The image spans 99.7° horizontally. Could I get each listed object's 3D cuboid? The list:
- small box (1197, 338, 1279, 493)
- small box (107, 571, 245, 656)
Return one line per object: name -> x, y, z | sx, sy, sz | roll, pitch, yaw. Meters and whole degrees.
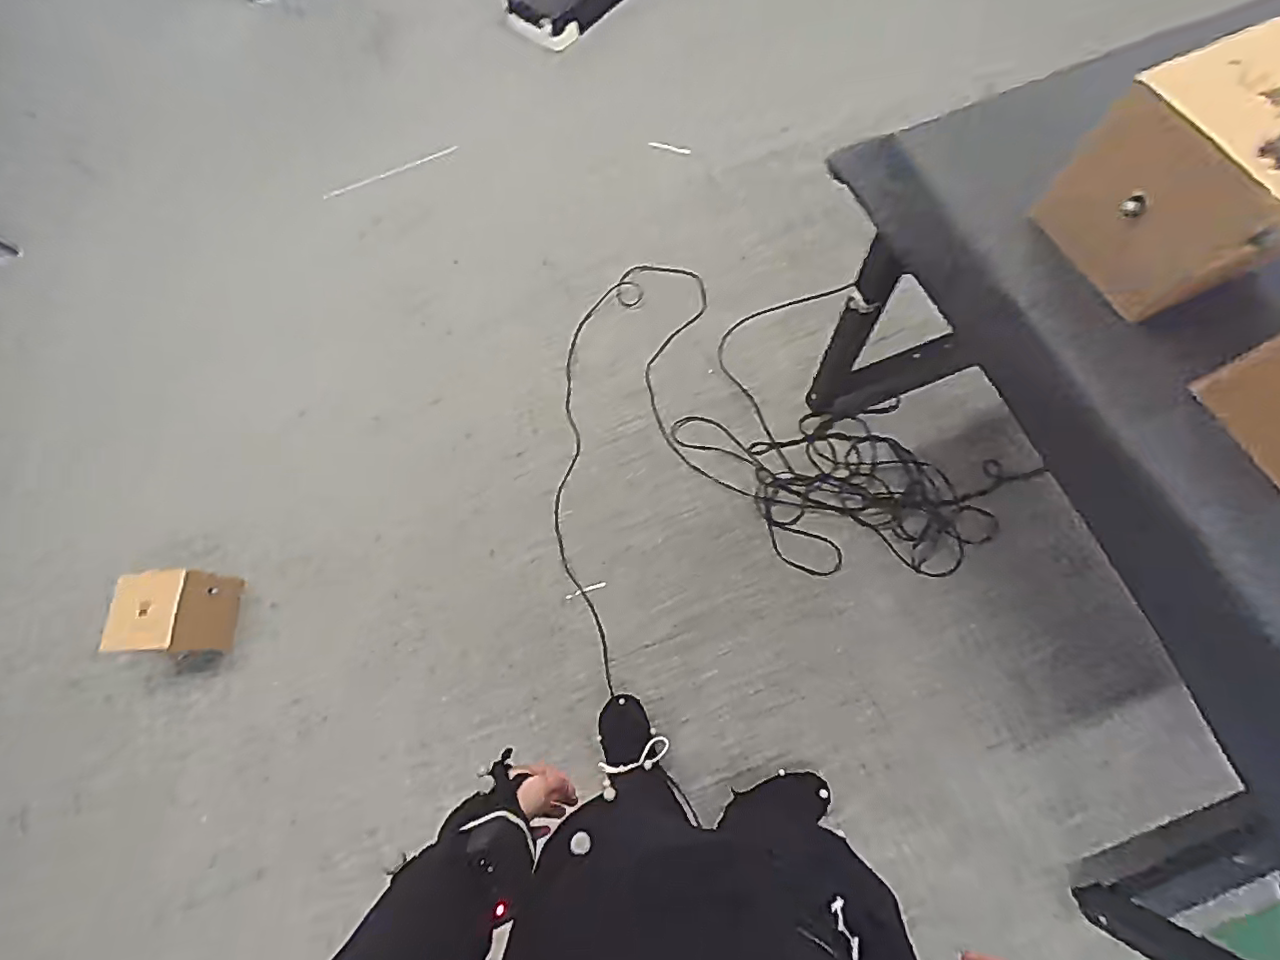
small box -> 0.677, -0.081, 0.474 | 0.168, 0.176, 0.179 | -24, 71, -4
small box -> -1.075, 0.319, 1.271 | 0.168, 0.176, 0.179 | -5, 71, 4
